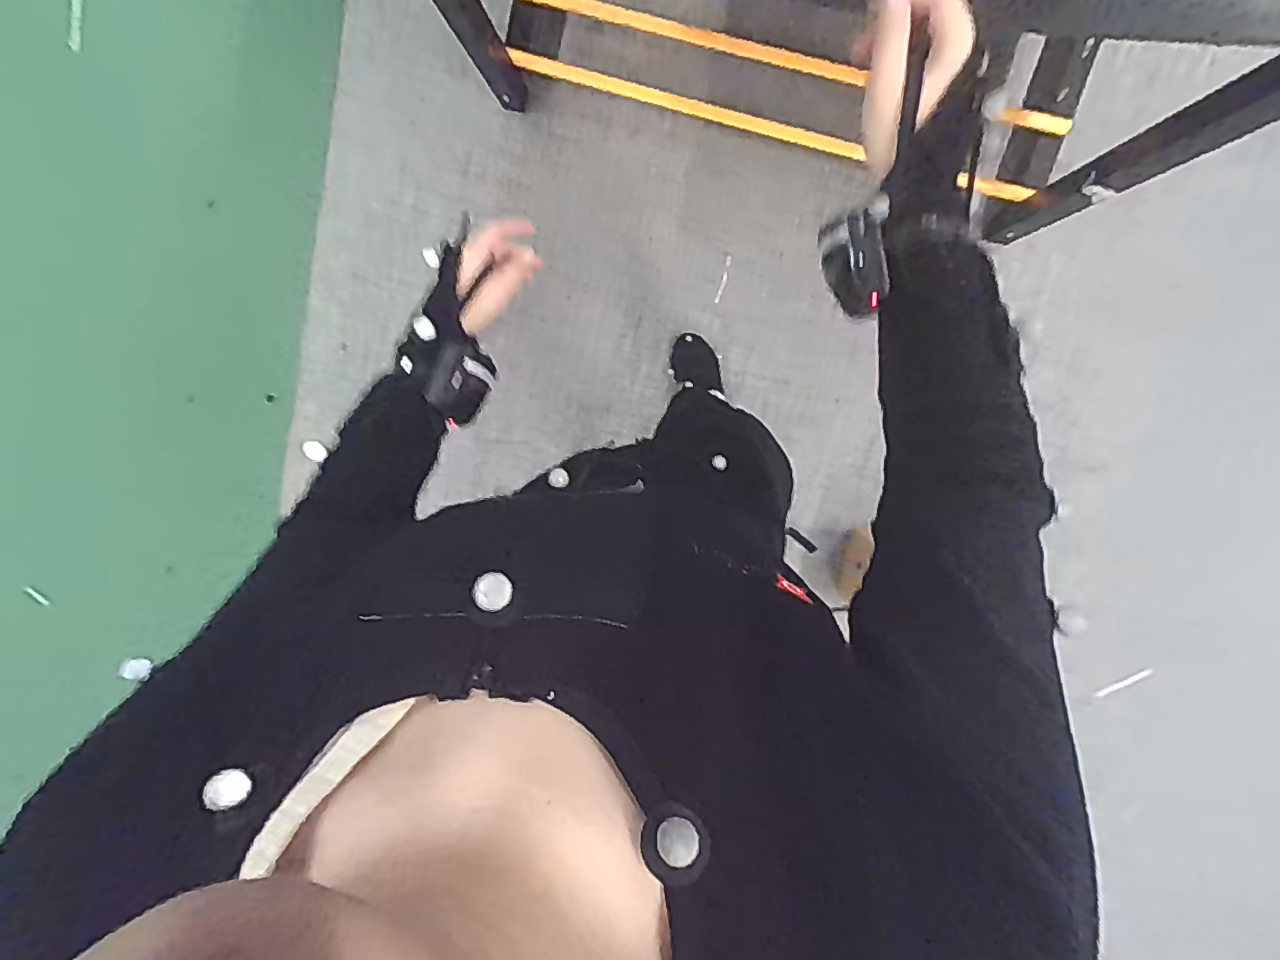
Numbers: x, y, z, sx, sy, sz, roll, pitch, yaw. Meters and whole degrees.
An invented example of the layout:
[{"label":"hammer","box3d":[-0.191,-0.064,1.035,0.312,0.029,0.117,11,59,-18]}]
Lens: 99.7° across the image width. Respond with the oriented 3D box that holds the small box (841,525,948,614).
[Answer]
[{"label":"small box","box3d":[0.586,0.214,1.265,0.168,0.176,0.179,10,100,3]}]
